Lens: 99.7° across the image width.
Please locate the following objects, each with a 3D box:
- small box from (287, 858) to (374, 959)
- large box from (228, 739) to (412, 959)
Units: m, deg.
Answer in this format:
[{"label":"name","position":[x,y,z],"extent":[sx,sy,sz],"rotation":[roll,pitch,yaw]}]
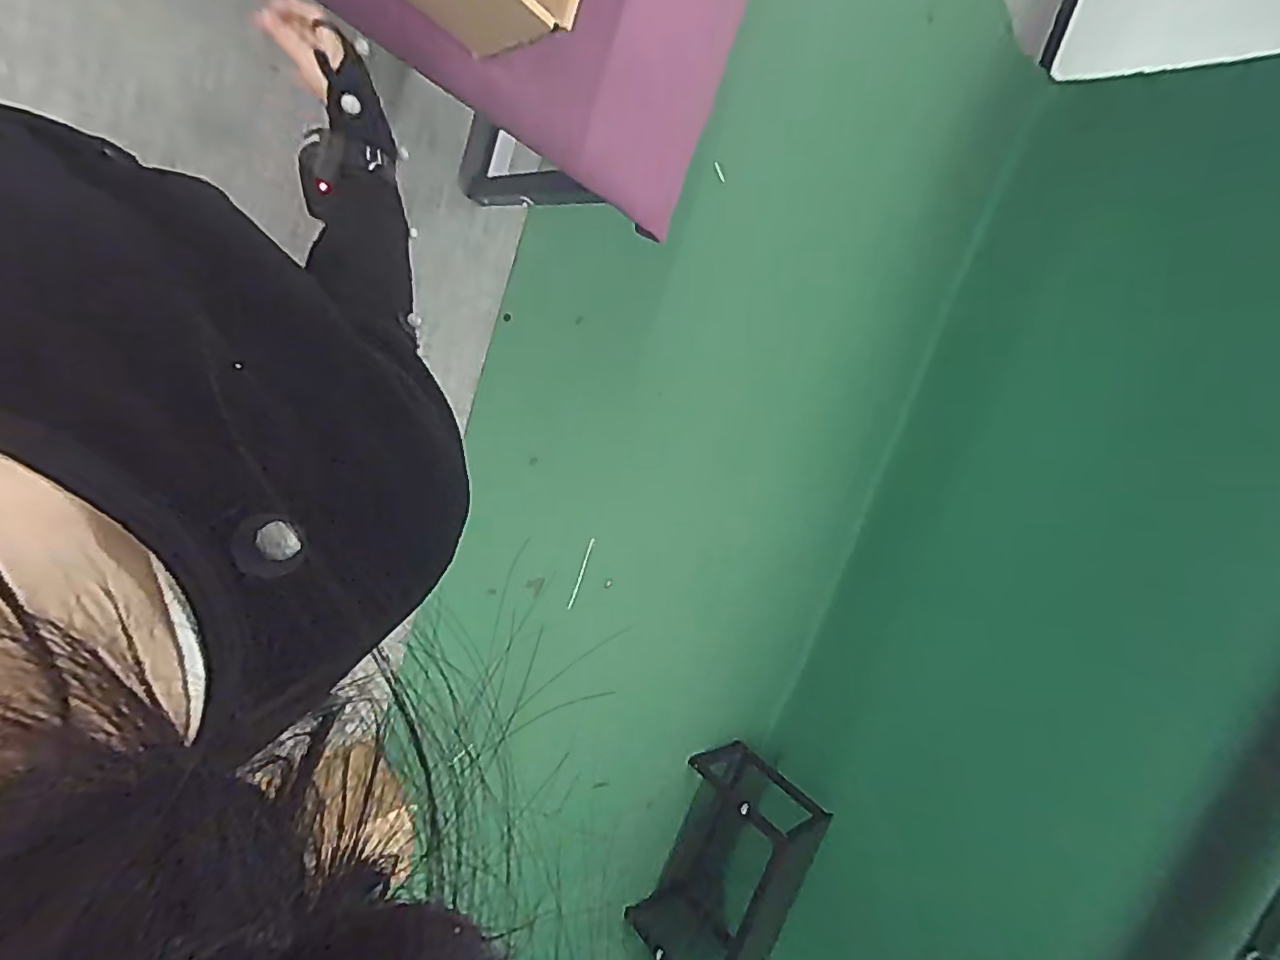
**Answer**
[{"label":"small box","position":[-0.811,1.141,1.417],"extent":[0.168,0.176,0.179],"rotation":[-8,114,-42]},{"label":"large box","position":[-0.943,1.070,1.614],"extent":[0.408,0.320,0.320],"rotation":[-10,117,-43]}]
